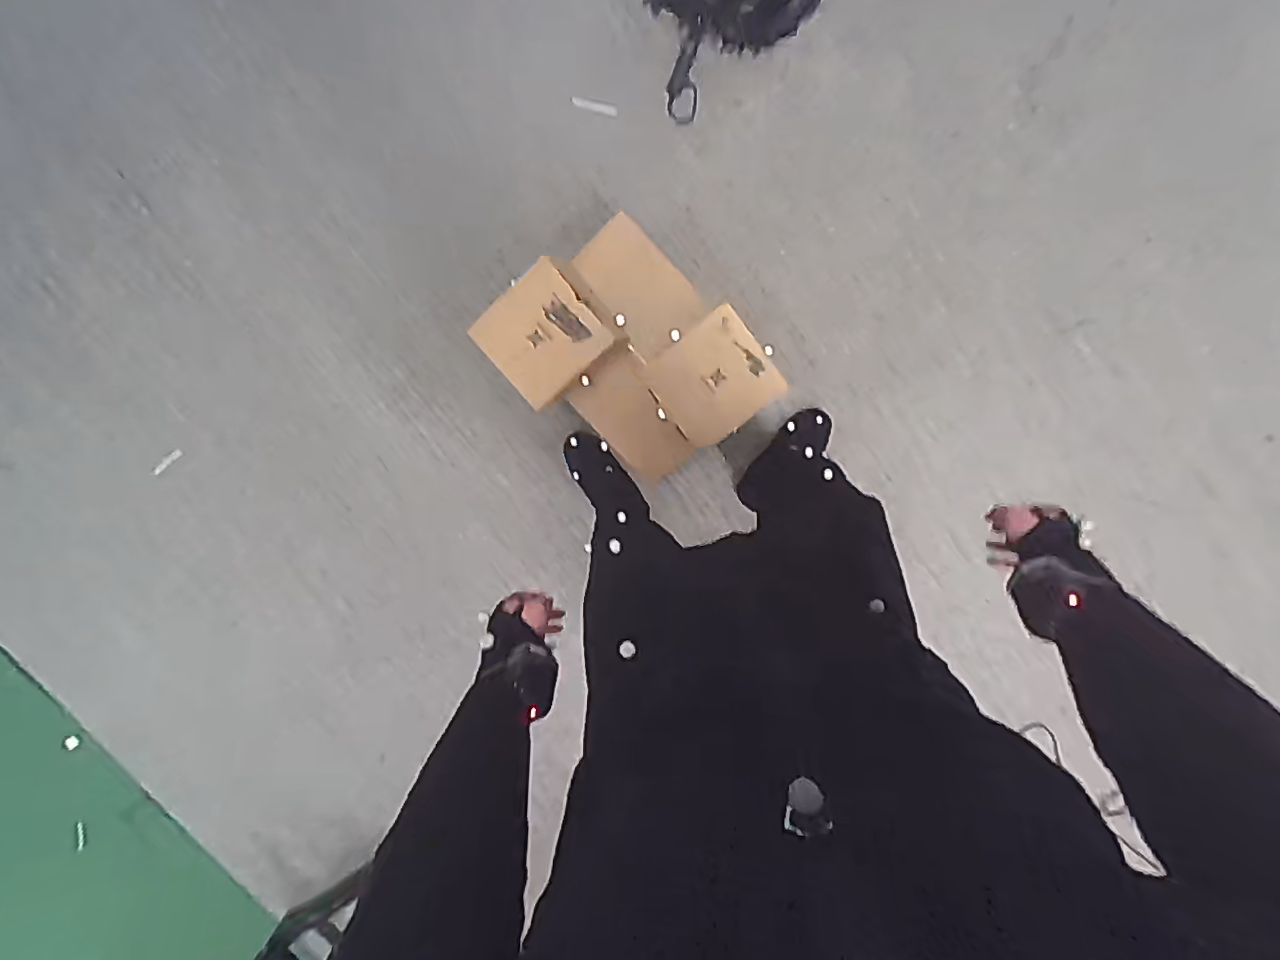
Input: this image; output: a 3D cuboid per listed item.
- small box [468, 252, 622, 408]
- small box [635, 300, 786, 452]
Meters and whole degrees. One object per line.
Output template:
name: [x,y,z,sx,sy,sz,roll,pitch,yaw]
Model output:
small box: [-0.144,-0.245,0.898,0.179,0.176,0.168,-38,97,14]
small box: [0.113,-0.170,0.897,0.179,0.176,0.168,-36,98,9]
